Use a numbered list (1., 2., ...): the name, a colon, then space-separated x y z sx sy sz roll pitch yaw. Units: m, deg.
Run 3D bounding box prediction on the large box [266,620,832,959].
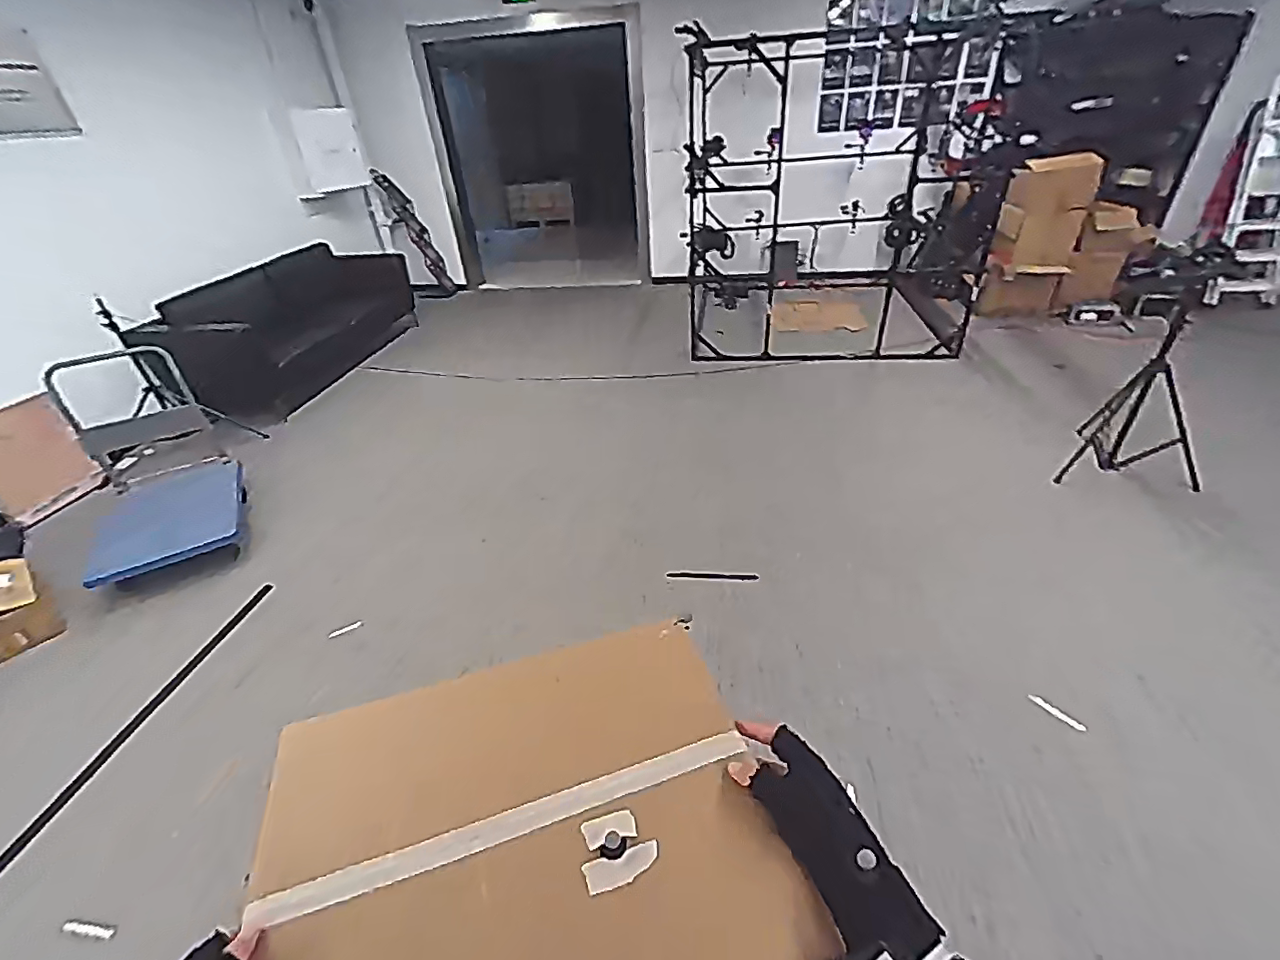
1. large box: -0.090 0.404 0.549 0.408 0.320 0.320 -11 38 -14
